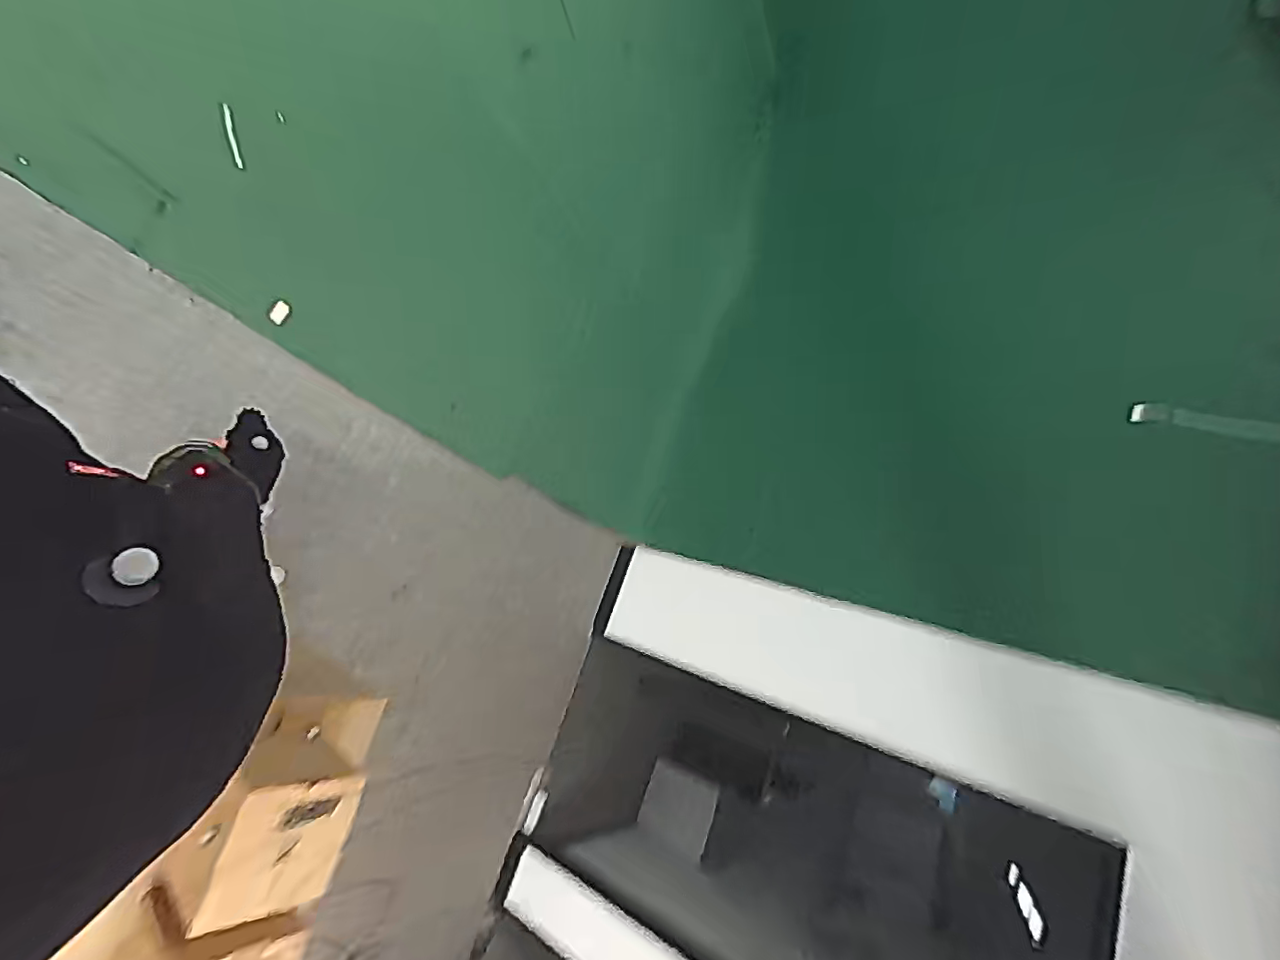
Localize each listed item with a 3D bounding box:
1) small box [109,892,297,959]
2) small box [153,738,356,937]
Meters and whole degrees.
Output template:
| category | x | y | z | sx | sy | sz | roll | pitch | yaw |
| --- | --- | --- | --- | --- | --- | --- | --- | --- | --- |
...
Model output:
| category | x | y | z | sx | sy | sz | roll | pitch | yaw |
| --- | --- | --- | --- | --- | --- | --- | --- | --- | --- |
| small box | -0.621 | 0.692 | 0.747 | 0.168 | 0.176 | 0.179 | 27 | 78 | -51 |
| small box | -0.557 | 0.491 | 0.783 | 0.168 | 0.176 | 0.179 | 30 | 75 | -51 |
